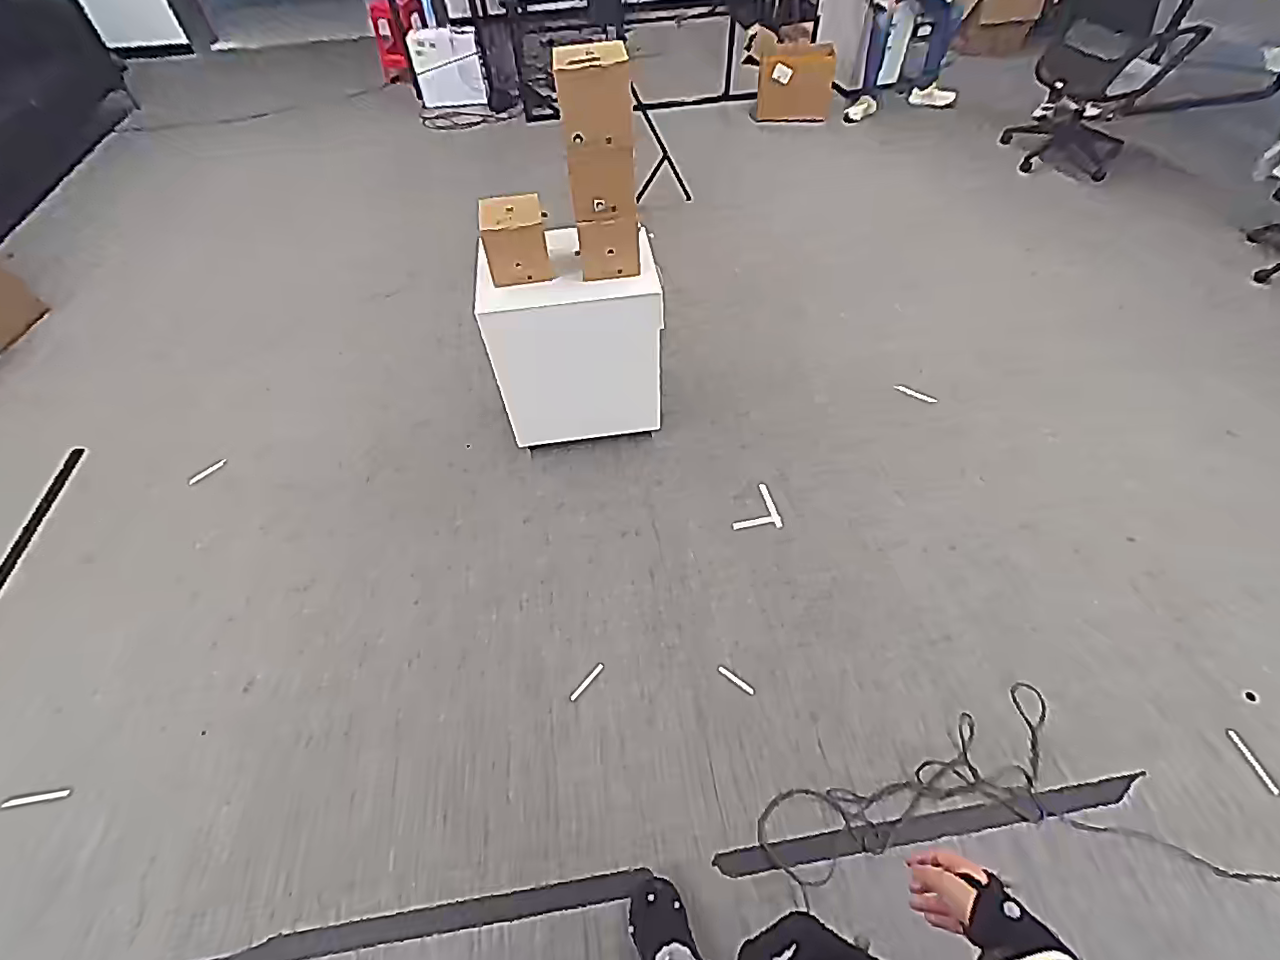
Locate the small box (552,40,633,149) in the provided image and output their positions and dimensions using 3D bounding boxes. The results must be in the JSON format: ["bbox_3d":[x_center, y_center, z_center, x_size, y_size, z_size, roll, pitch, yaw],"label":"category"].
[{"bbox_3d":[-0.108,-0.893,1.263,0.168,0.176,0.179,-7,51,-1],"label":"small box"}]

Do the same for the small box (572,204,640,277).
[{"bbox_3d":[-0.094,-0.689,1.520,0.168,0.176,0.179,-8,54,-2],"label":"small box"}]

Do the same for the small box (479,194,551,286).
[{"bbox_3d":[-0.349,-0.673,1.517,0.168,0.176,0.179,-10,53,-5],"label":"small box"}]

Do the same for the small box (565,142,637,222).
[{"bbox_3d":[-0.102,-0.795,1.396,0.168,0.176,0.179,-8,53,-1],"label":"small box"}]
